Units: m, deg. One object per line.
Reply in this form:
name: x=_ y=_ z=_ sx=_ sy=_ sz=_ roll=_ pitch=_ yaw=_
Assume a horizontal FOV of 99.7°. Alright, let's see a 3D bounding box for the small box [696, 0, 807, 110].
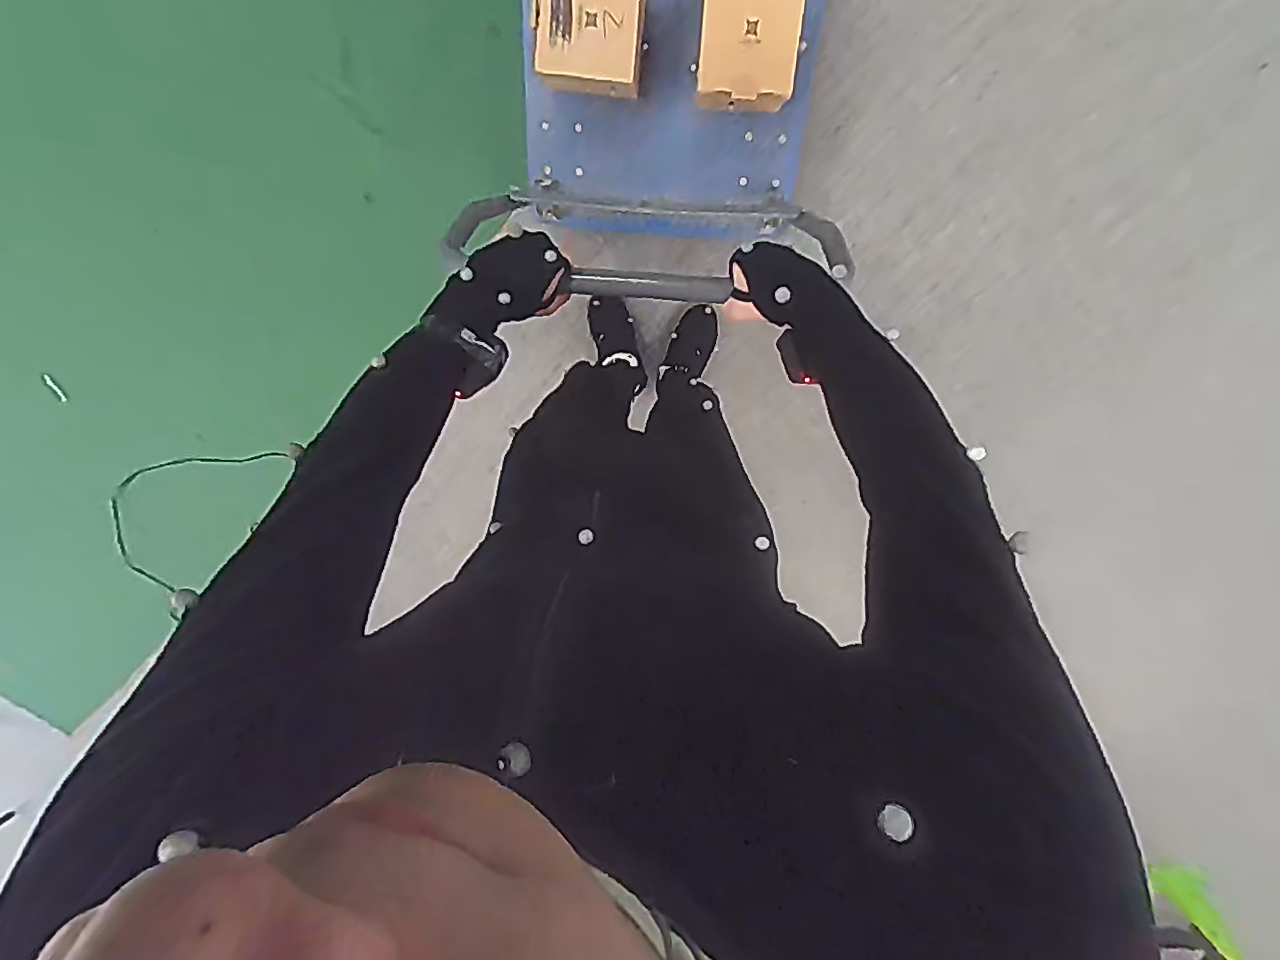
small box: x=0.191 y=-0.784 z=0.969 sx=0.168 sy=0.176 sz=0.179 roll=4 pitch=119 yaw=1
